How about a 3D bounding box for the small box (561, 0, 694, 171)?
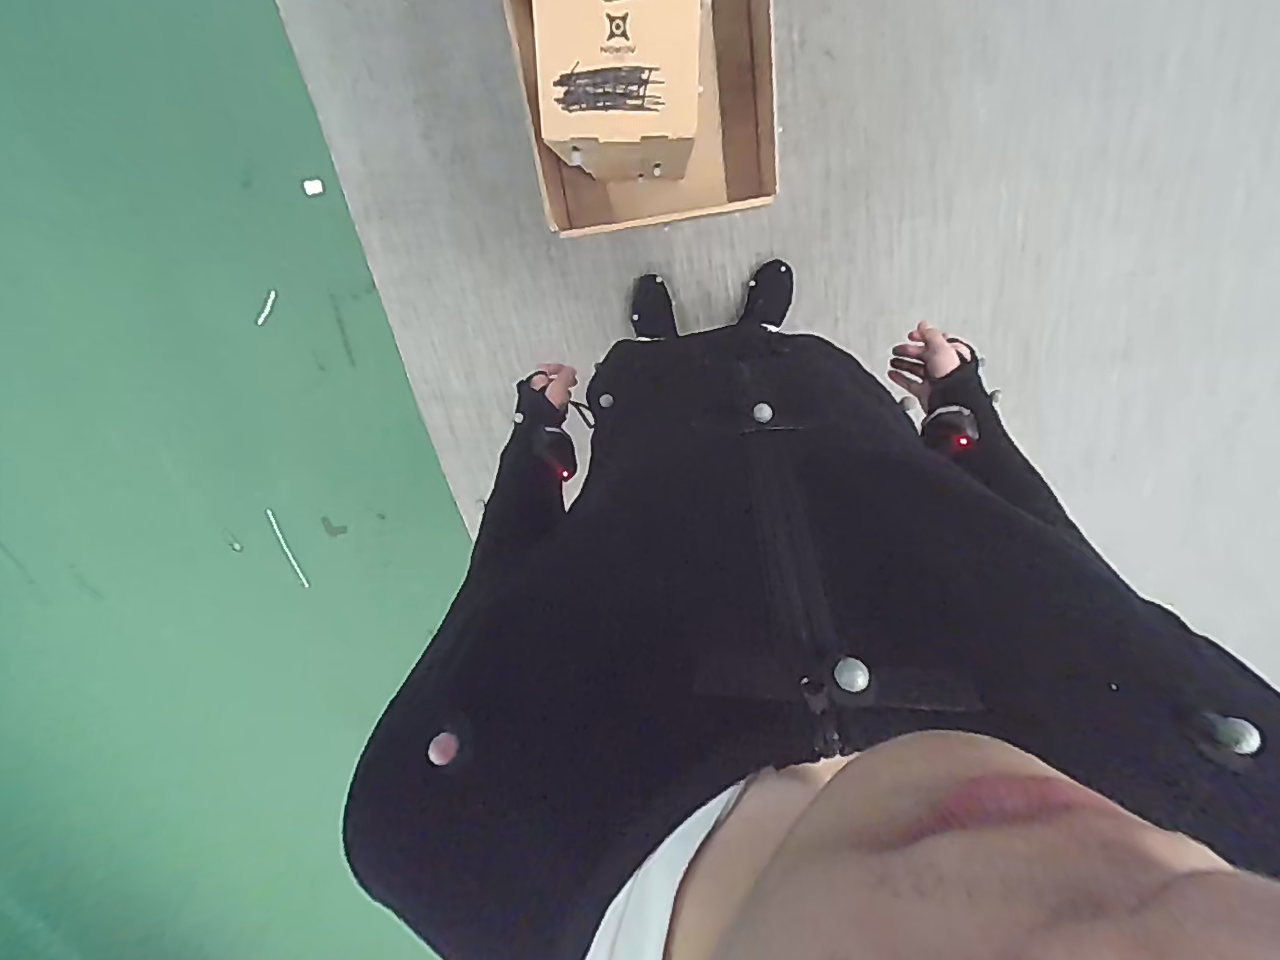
[{"bbox_3d":[-0.015,-0.544,0.759,0.168,0.176,0.179,2,112,1],"label":"small box"}]
